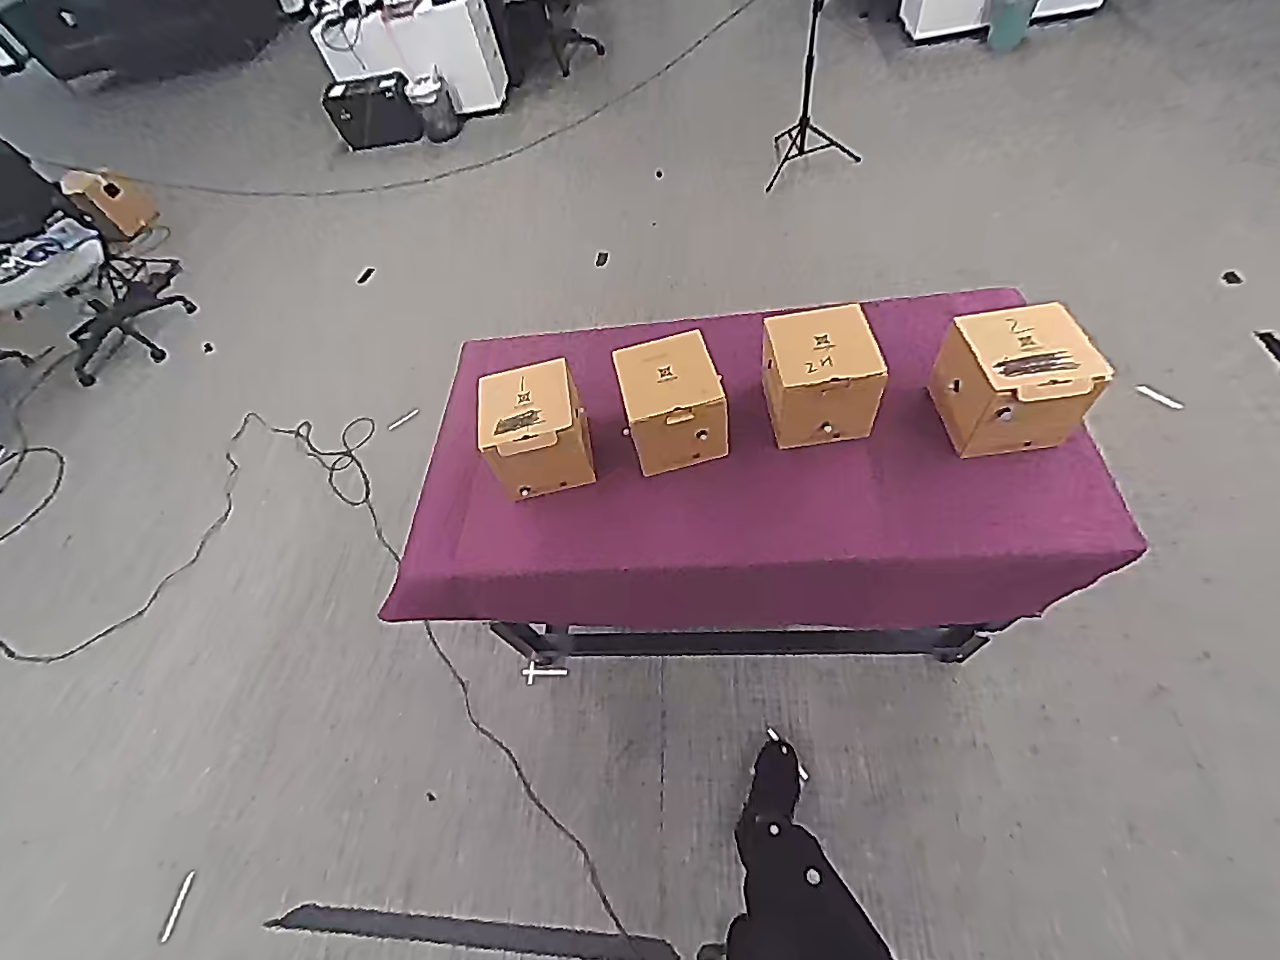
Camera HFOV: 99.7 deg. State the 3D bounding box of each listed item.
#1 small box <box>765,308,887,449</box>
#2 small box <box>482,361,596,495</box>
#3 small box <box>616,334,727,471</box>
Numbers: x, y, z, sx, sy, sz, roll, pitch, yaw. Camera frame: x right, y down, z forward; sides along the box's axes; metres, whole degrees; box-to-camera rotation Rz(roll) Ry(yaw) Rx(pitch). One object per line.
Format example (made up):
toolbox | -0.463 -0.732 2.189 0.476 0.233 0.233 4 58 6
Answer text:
small box | 0.323 -0.179 0.979 0.168 0.176 0.179 -7 56 7
small box | -0.185 -0.089 1.016 0.168 0.176 0.179 -13 55 2
small box | 0.062 -0.134 1.002 0.168 0.176 0.179 -14 55 1
